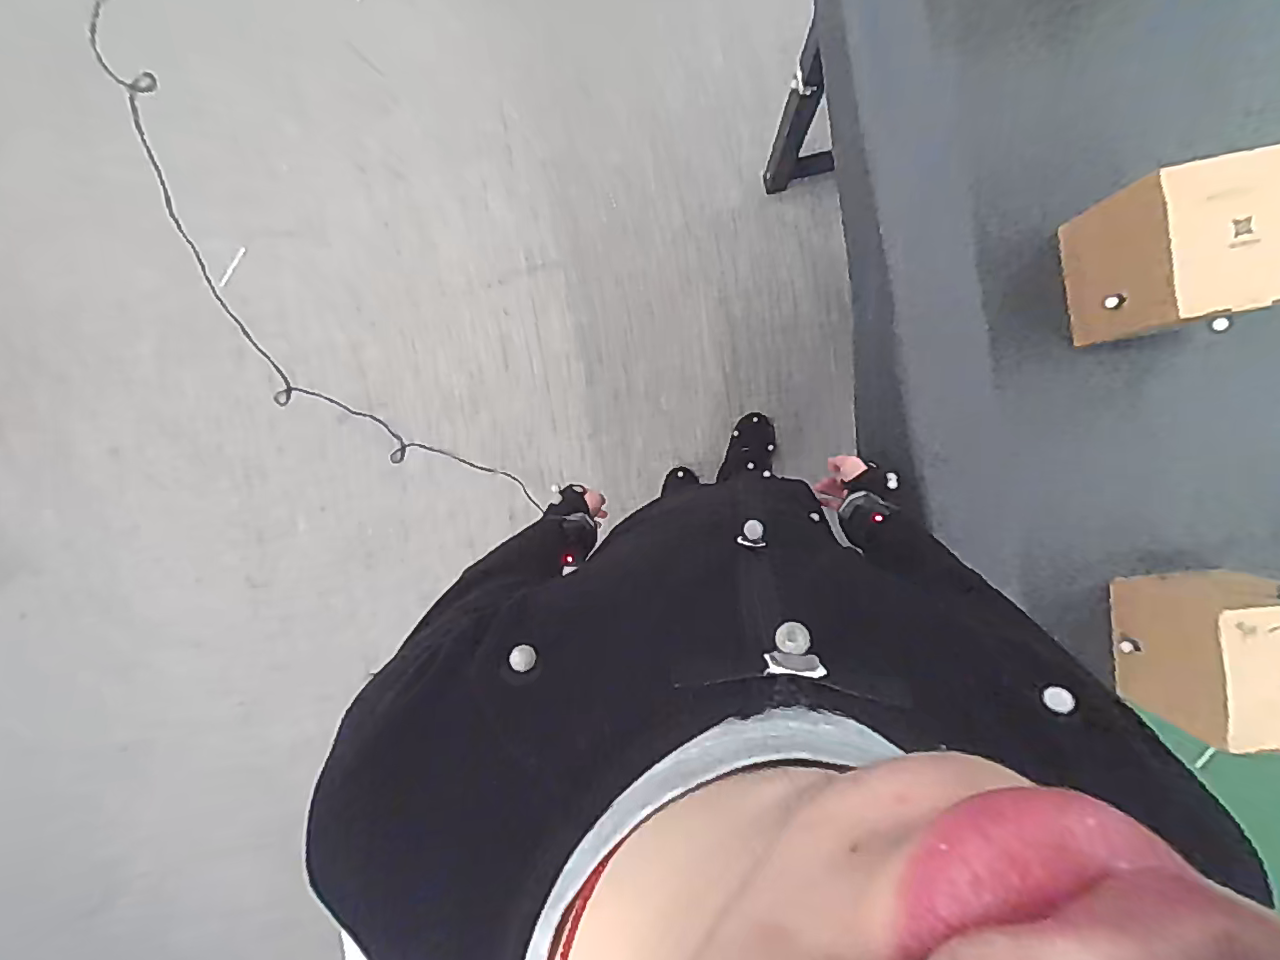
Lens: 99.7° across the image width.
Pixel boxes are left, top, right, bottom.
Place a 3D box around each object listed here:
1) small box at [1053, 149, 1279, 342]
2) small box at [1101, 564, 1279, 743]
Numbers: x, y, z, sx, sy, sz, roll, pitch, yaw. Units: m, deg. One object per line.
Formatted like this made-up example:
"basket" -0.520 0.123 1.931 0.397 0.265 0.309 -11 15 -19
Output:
"small box" 0.685 -0.286 0.701 0.168 0.176 0.179 -11 92 2
"small box" 0.772 0.224 0.730 0.168 0.176 0.179 -6 94 3
